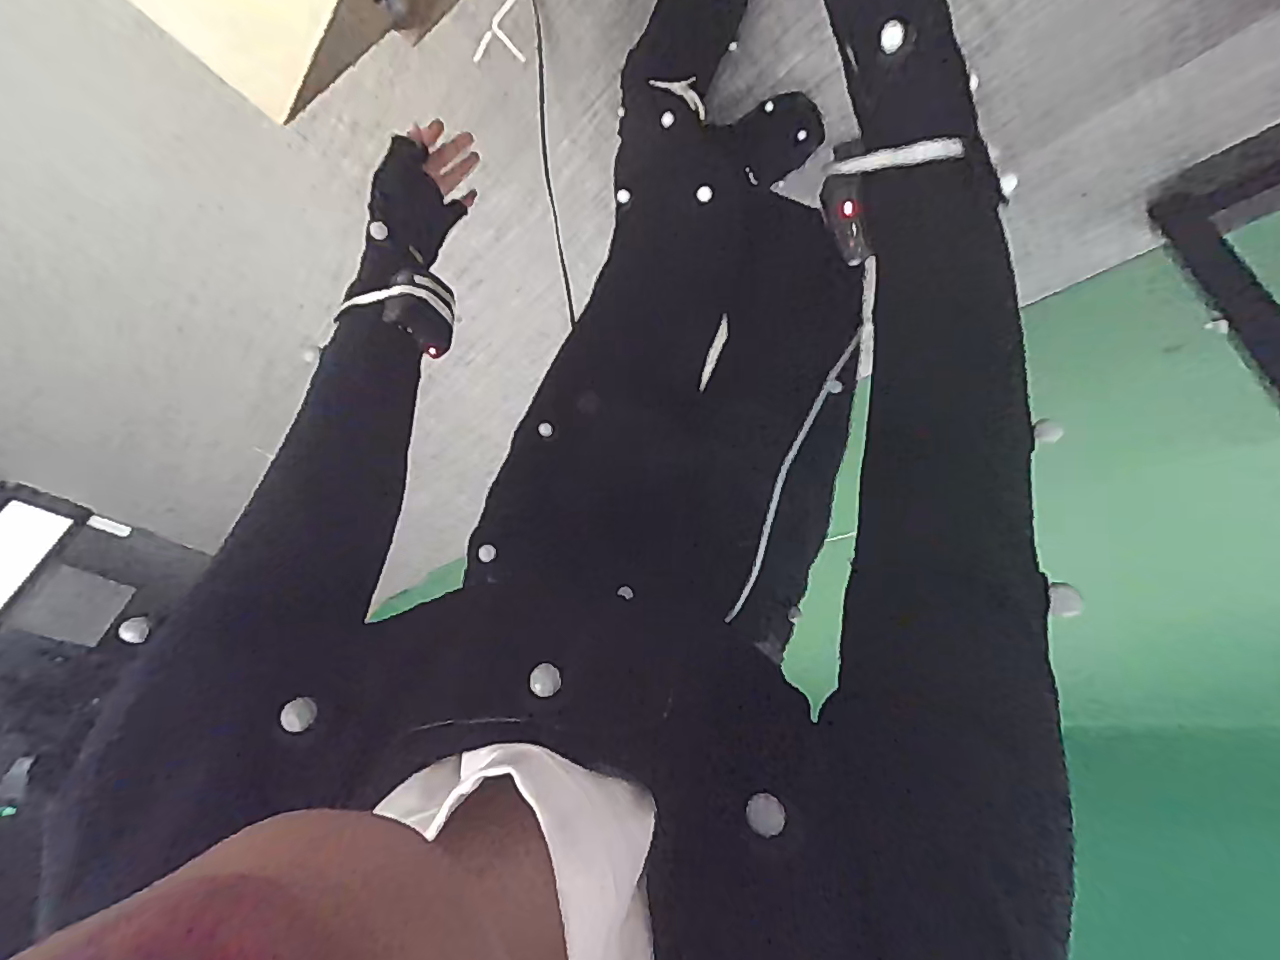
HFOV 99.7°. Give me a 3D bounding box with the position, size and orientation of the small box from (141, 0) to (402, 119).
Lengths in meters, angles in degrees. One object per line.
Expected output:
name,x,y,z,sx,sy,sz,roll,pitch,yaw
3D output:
small box,-0.204,-0.359,0.290,0.179,0.176,0.168,-18,137,39
